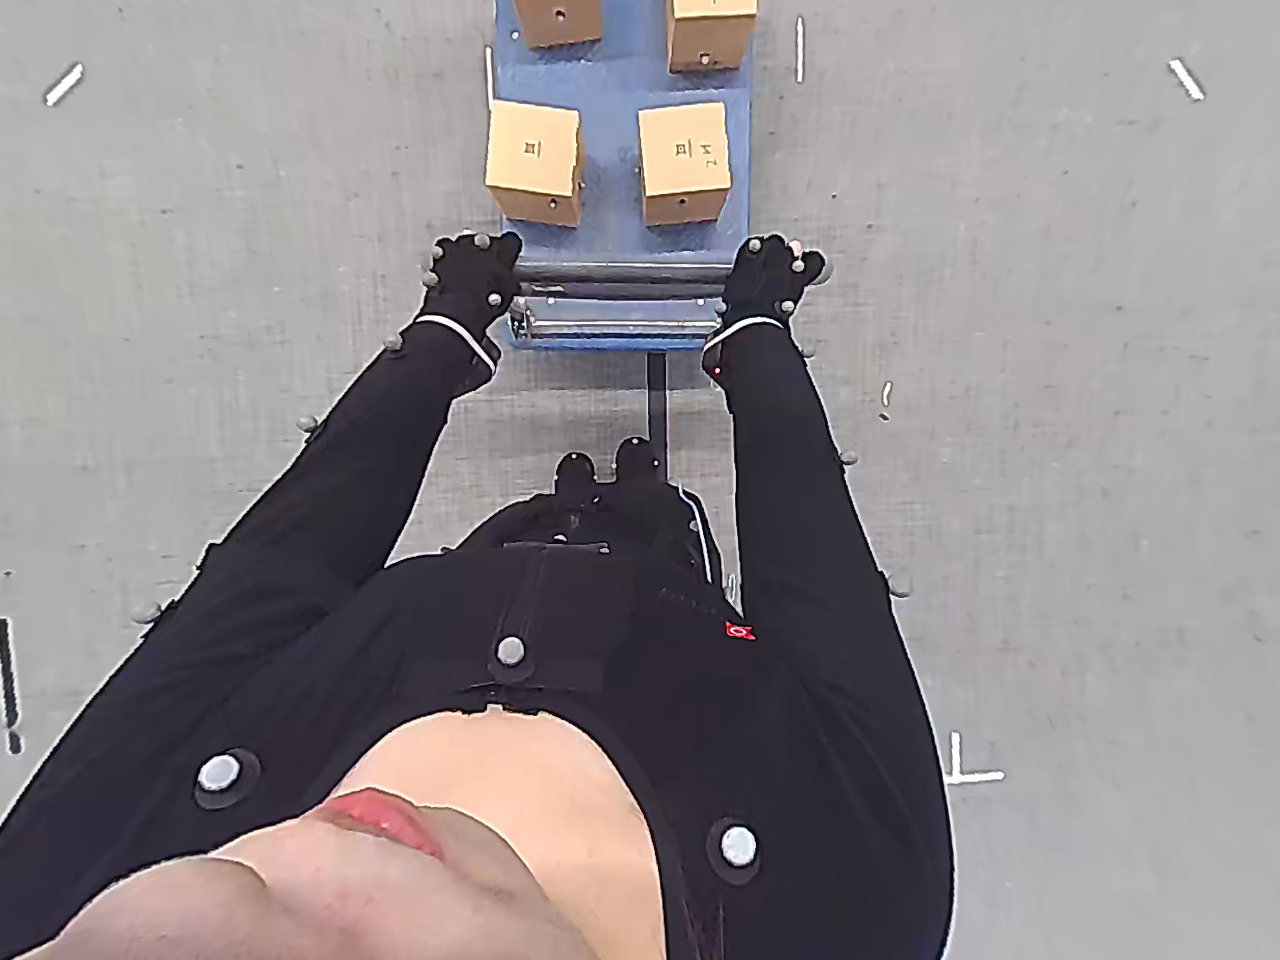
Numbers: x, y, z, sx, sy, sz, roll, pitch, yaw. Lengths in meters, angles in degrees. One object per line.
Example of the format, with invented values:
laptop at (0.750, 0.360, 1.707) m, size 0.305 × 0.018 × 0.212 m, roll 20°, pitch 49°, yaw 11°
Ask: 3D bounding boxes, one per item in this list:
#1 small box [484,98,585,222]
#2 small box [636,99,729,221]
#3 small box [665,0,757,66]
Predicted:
small box at (-0.217, -0.668, 1.148) m, size 0.179 × 0.176 × 0.168 m, roll 6°, pitch 96°, yaw -3°
small box at (0.087, -0.670, 1.152) m, size 0.179 × 0.176 × 0.168 m, roll -6°, pitch 97°, yaw 0°
small box at (0.141, -1.002, 1.115) m, size 0.168 × 0.176 × 0.179 m, roll -3°, pitch 97°, yaw 0°
